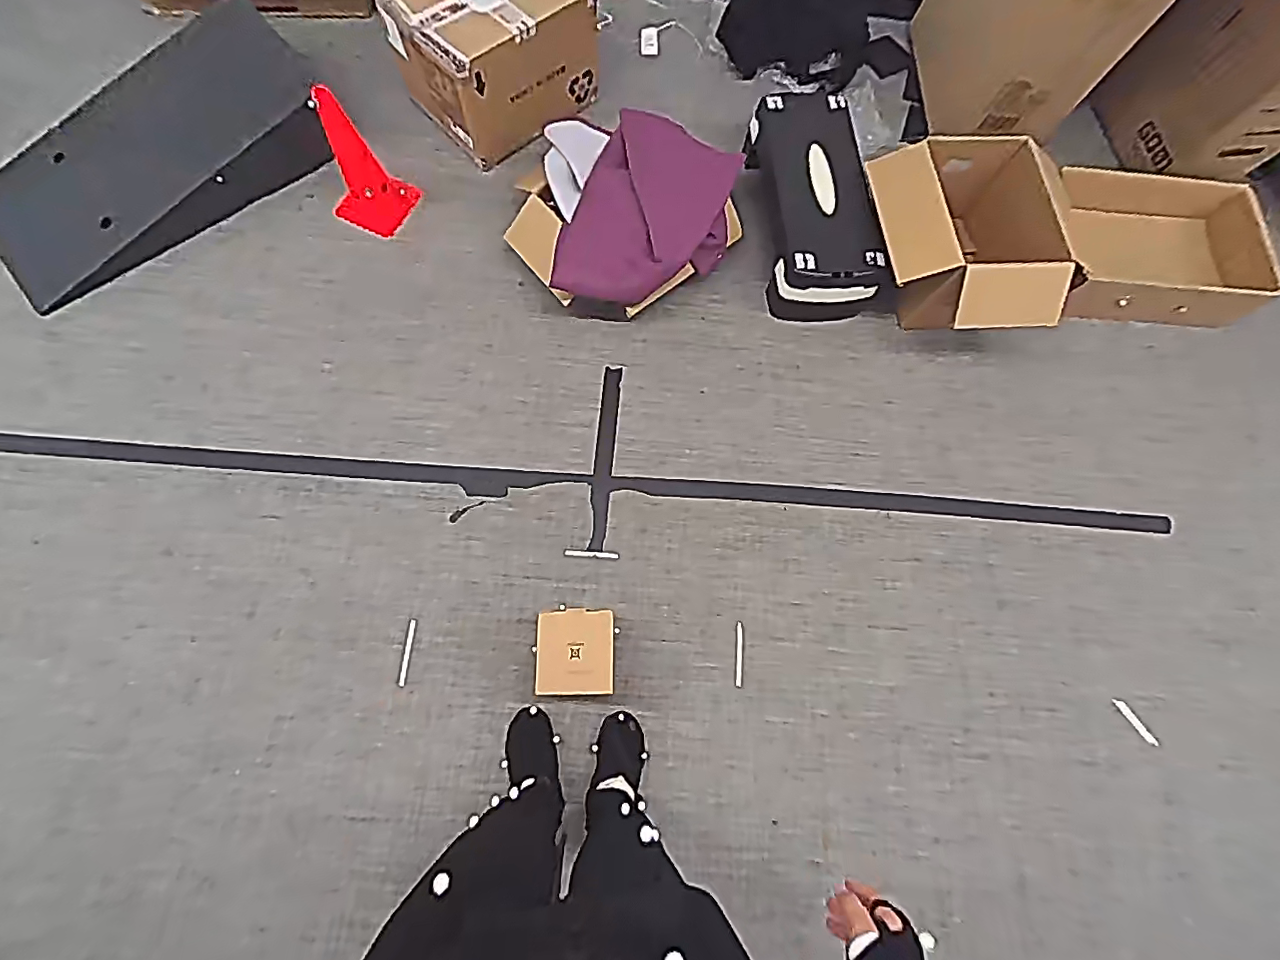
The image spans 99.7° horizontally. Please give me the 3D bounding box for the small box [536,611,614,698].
[{"bbox_3d":[-0.144,0.394,1.232,0.168,0.176,0.179,0,75,-3],"label":"small box"}]
